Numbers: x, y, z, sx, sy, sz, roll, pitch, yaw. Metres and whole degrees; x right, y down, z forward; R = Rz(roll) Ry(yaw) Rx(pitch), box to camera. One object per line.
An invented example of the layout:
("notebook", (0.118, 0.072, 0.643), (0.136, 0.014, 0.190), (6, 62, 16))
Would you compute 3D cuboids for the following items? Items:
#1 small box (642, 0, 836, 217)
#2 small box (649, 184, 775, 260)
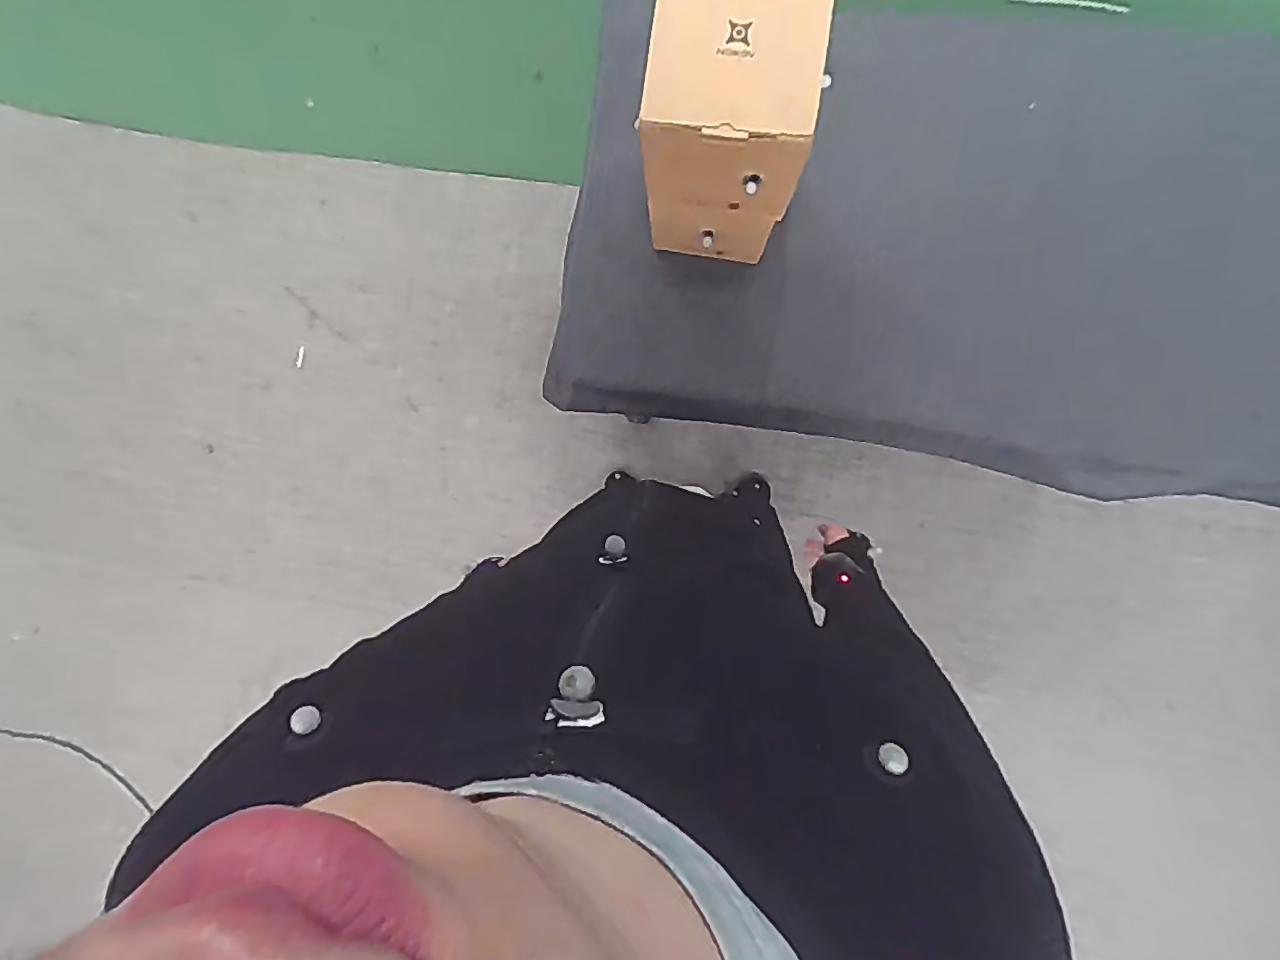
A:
("small box", (0.099, -0.410, 0.582), (0.168, 0.176, 0.179), (8, 90, 3))
("small box", (0.112, -0.426, 0.744), (0.168, 0.176, 0.179), (10, 92, 3))
